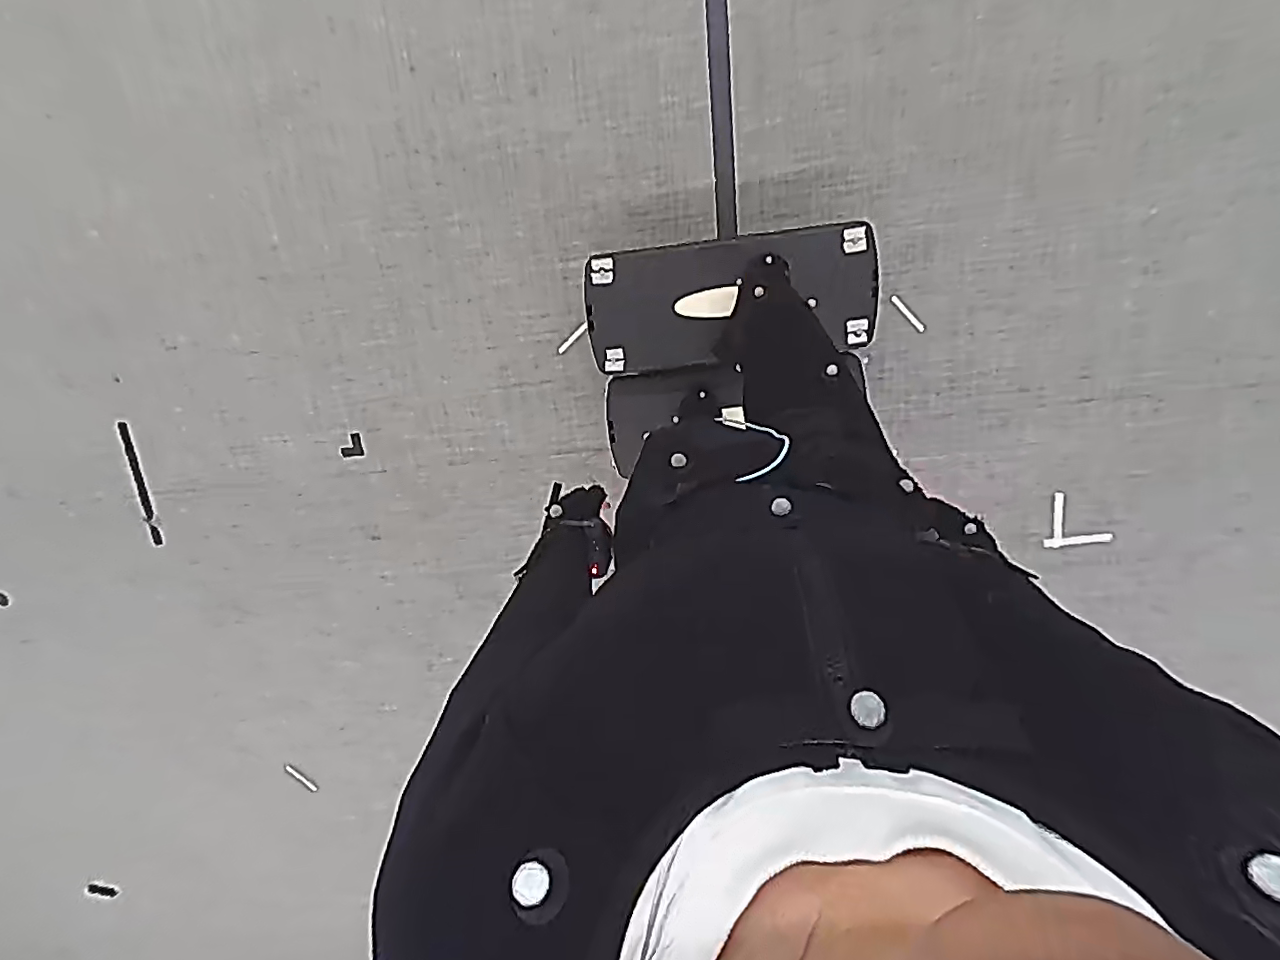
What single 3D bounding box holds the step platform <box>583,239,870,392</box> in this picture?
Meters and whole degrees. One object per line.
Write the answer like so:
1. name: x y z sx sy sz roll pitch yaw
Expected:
1. step platform: 0.201 -0.398 1.339 0.684 0.204 0.286 -6 104 6
